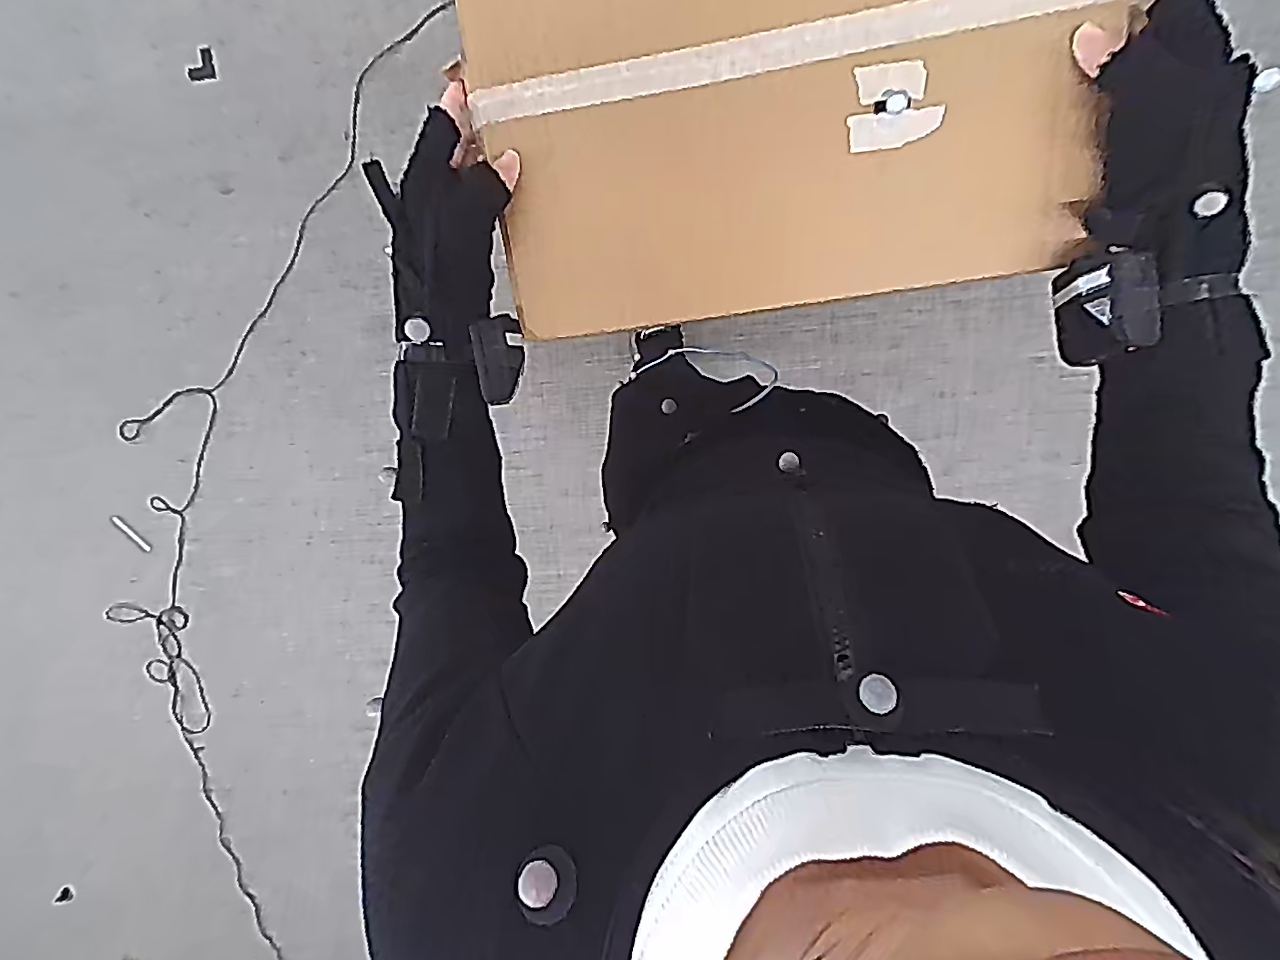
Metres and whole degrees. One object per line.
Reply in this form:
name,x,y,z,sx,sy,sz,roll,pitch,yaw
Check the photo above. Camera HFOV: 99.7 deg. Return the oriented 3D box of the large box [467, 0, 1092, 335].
large box,0.098,-0.323,0.504,0.408,0.320,0.320,-6,106,6
